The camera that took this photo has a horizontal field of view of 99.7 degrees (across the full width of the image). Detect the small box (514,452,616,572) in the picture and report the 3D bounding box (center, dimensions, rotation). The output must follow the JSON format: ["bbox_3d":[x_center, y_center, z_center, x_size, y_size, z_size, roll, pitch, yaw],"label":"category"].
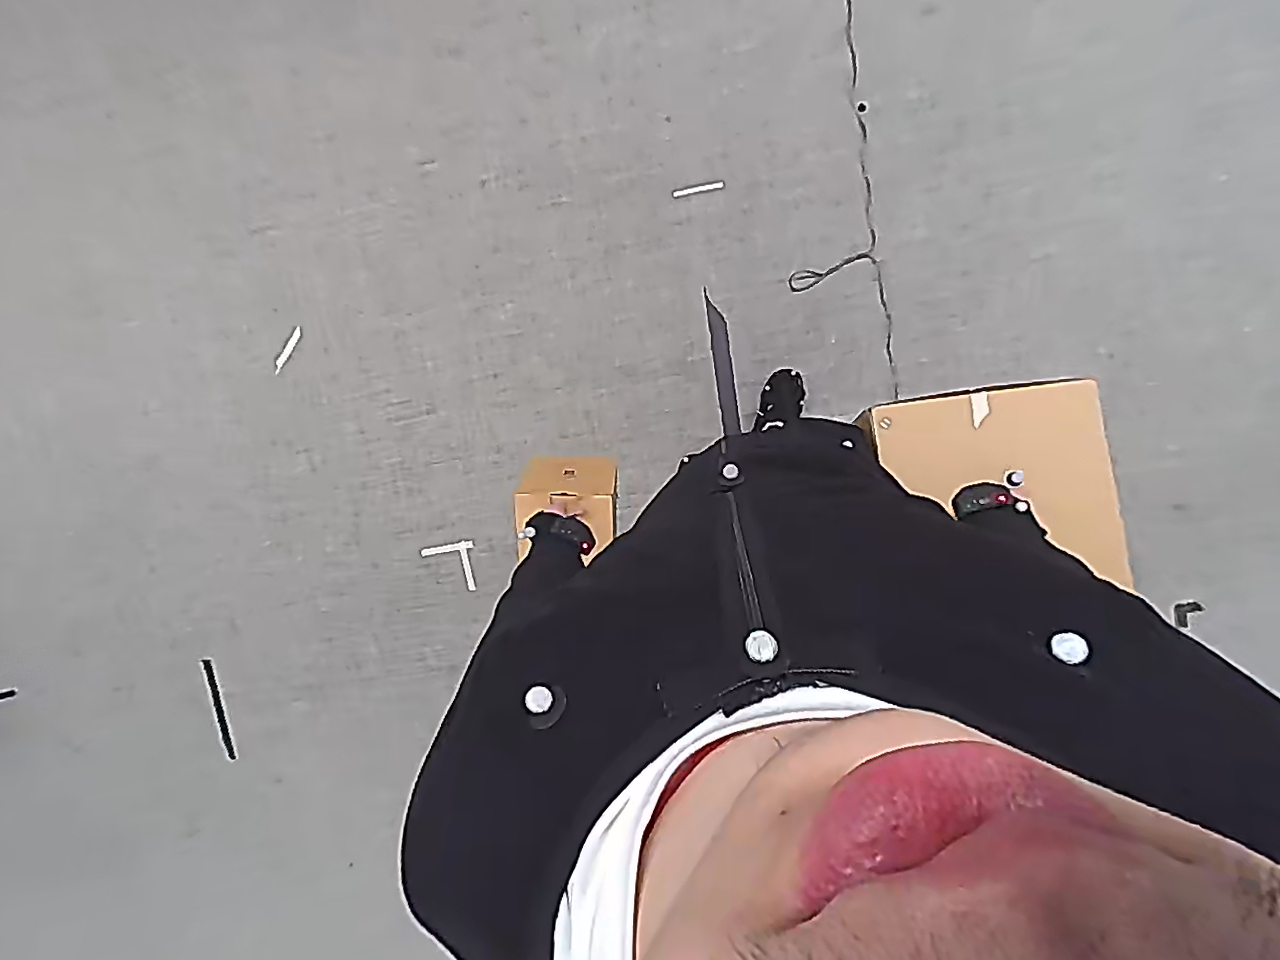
[{"bbox_3d":[-0.130,0.057,1.008,0.168,0.179,0.176,1,116,-1],"label":"small box"}]
